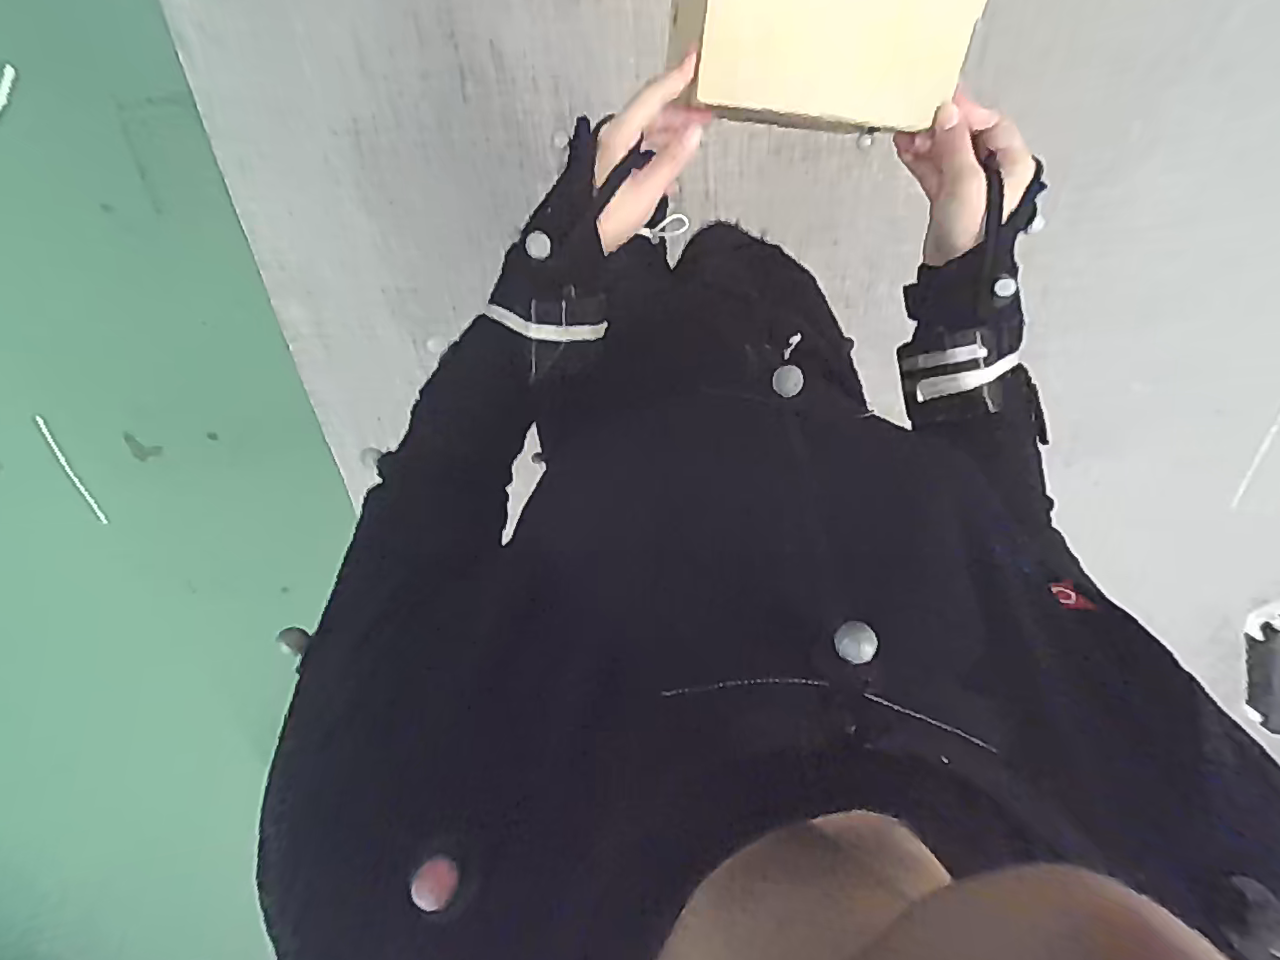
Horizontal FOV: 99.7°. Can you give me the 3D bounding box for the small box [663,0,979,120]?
[{"bbox_3d":[0.116,-0.358,0.375,0.179,0.176,0.168,1,122,-8],"label":"small box"}]
